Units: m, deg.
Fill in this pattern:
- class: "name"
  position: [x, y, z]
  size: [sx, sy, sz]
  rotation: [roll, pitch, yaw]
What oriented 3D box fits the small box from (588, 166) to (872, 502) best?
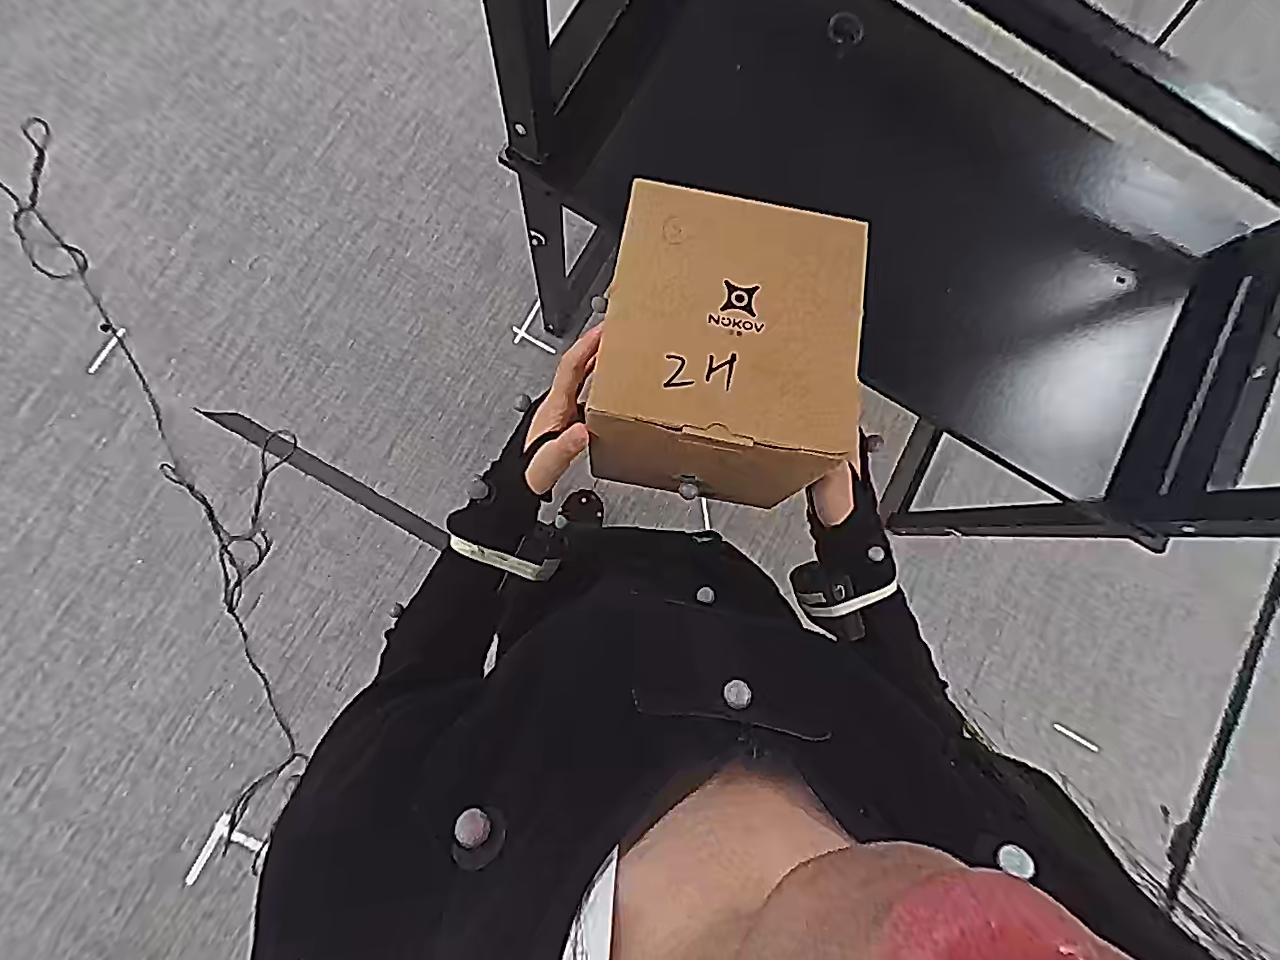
- class: "small box"
  position: [0.057, -0.094, 0.419]
  size: [0.168, 0.176, 0.179]
  rotation: [10, 76, -1]
